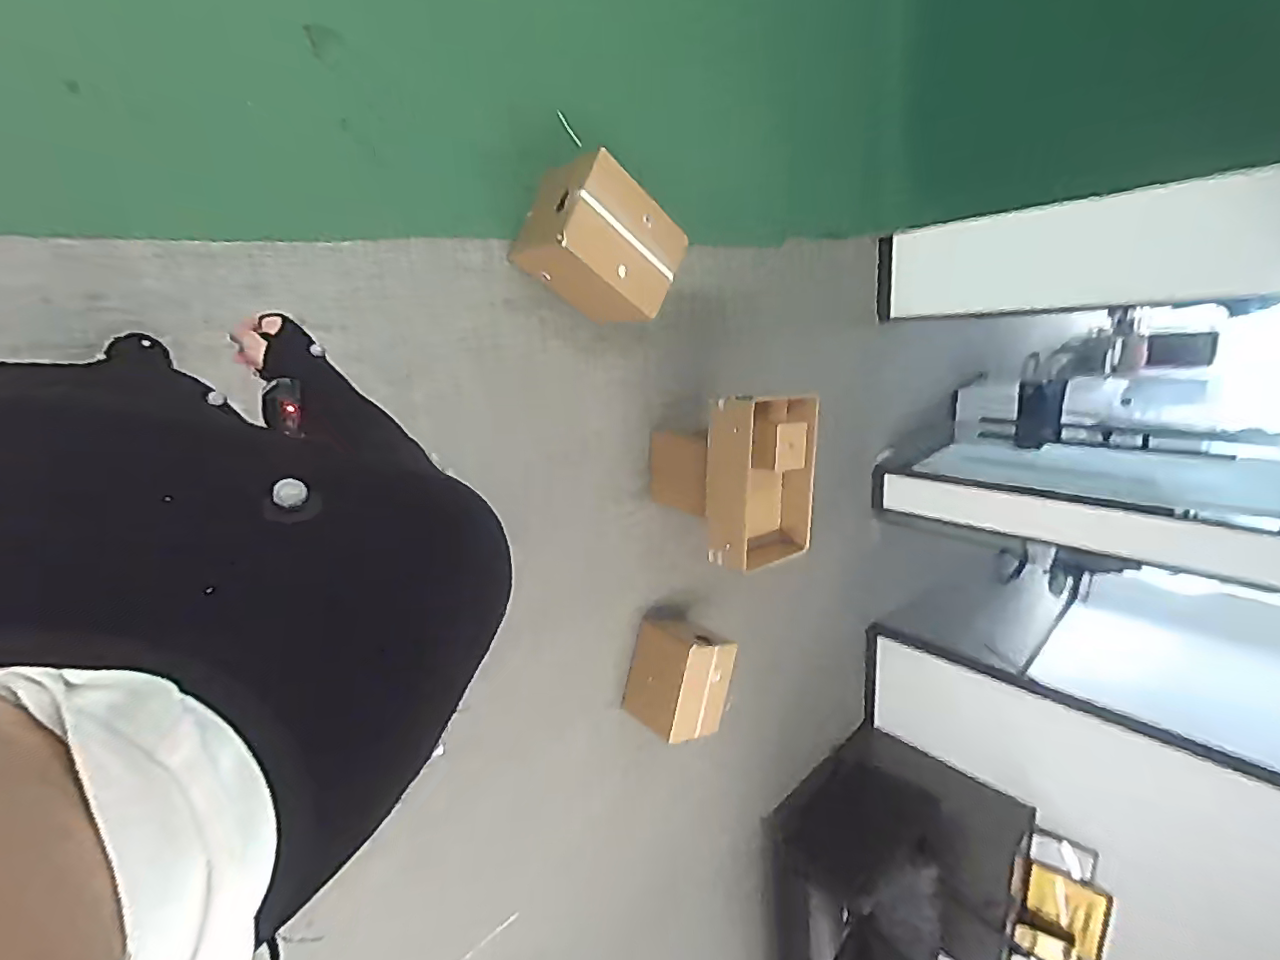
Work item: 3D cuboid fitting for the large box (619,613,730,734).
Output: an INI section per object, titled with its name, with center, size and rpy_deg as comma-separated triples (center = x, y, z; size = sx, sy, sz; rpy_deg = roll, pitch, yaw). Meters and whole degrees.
[large box]
center = 0.145, 0.827, 2.371
size = 0.320, 0.320, 0.408
rpy_deg = 11, 92, -43
